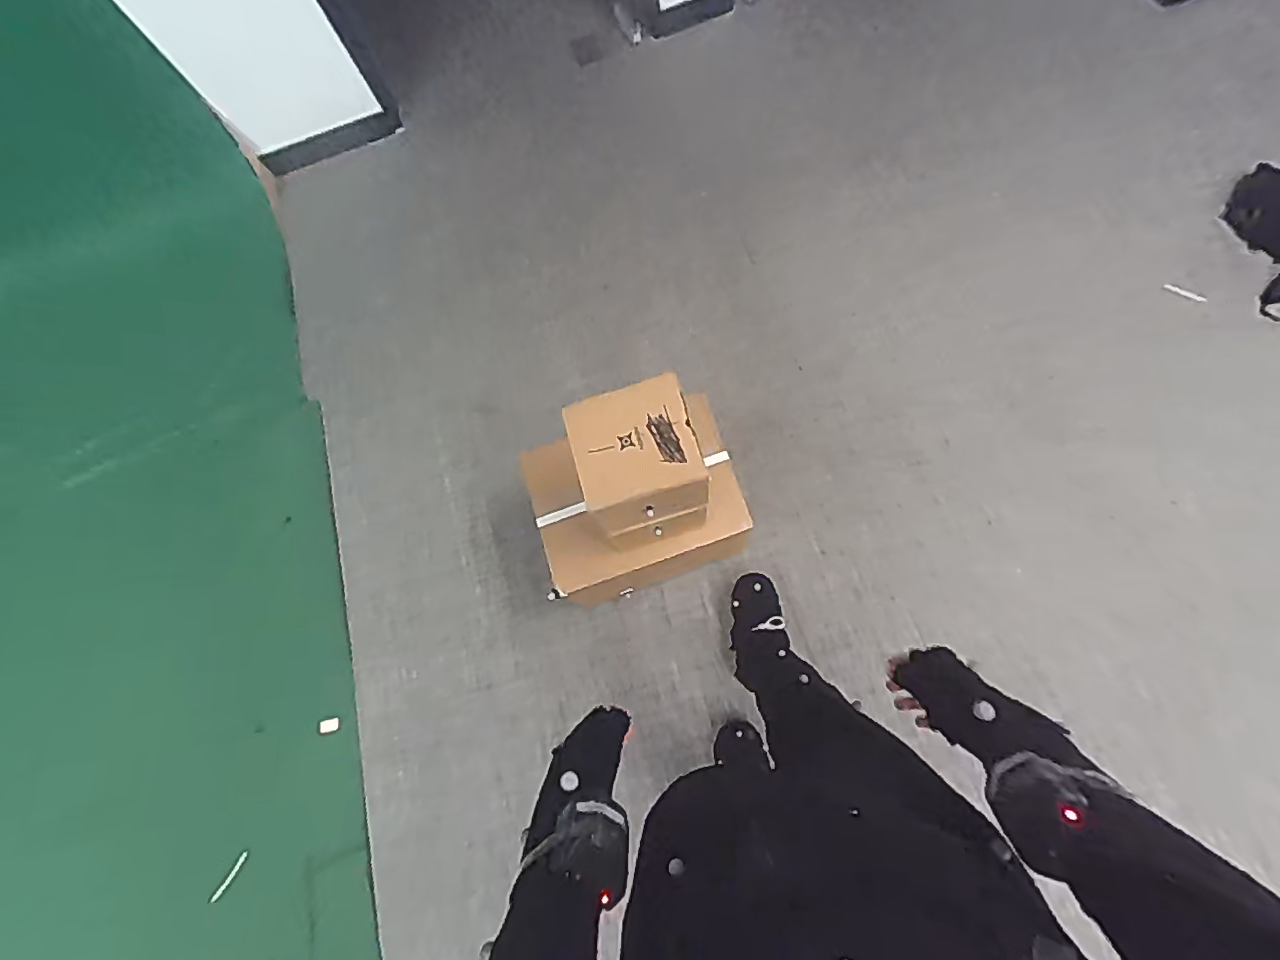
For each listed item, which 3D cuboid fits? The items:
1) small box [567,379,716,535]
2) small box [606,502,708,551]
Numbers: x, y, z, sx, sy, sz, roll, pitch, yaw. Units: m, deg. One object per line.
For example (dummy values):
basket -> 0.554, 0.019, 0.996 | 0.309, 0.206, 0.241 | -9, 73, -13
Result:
small box -> 0.006, -0.026, 0.838 | 0.179, 0.176, 0.168 | -19, 73, 1
small box -> 0.020, 0.023, 0.994 | 0.179, 0.176, 0.168 | -18, 73, 1
